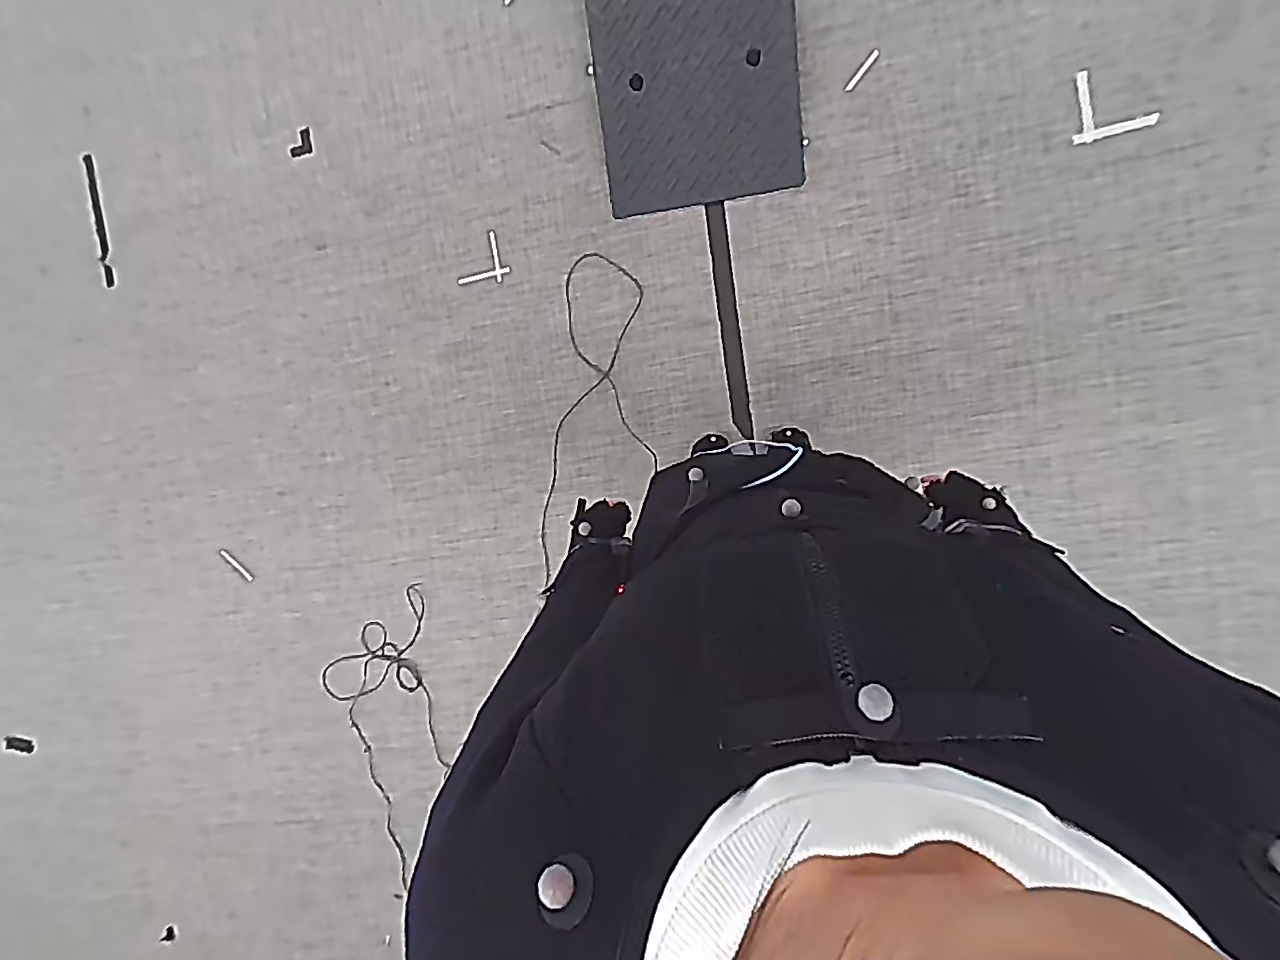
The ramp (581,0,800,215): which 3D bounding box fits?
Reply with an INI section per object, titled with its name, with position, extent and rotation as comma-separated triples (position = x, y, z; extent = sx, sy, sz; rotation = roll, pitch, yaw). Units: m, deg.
[ramp]
position = 0.095, -1.198, 1.262
extent = 0.509, 0.206, 0.991
rotation = -8, 95, 8
